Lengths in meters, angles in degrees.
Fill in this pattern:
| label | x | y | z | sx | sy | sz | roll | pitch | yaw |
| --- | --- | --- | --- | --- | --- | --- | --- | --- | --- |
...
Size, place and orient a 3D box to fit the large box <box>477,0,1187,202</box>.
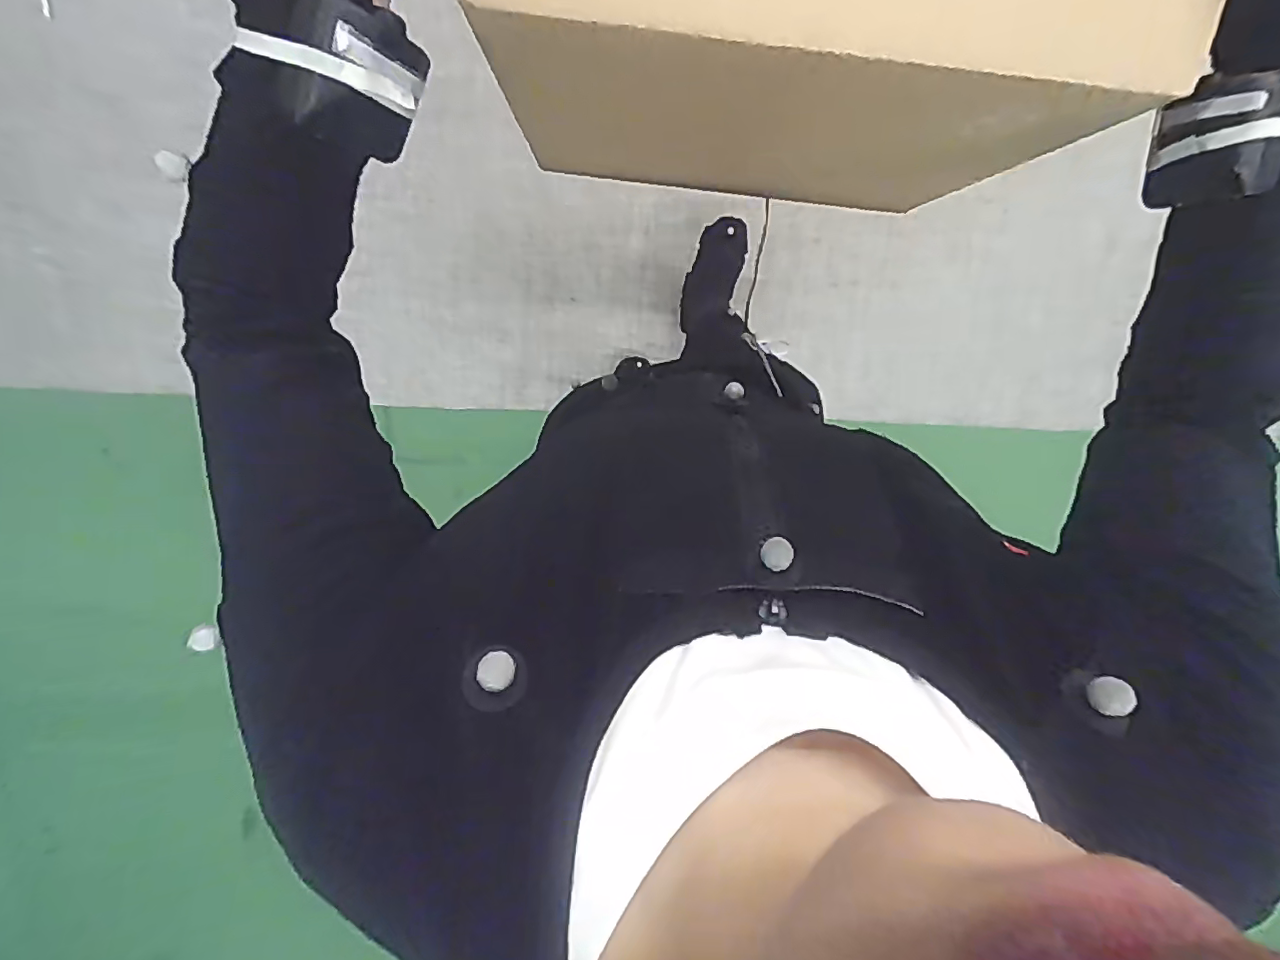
| label | x | y | z | sx | sy | sz | roll | pitch | yaw |
| --- | --- | --- | --- | --- | --- | --- | --- | --- | --- |
| large box | 0.111 | -0.426 | 0.408 | 0.408 | 0.320 | 0.320 | 4 | 106 | -3 |
